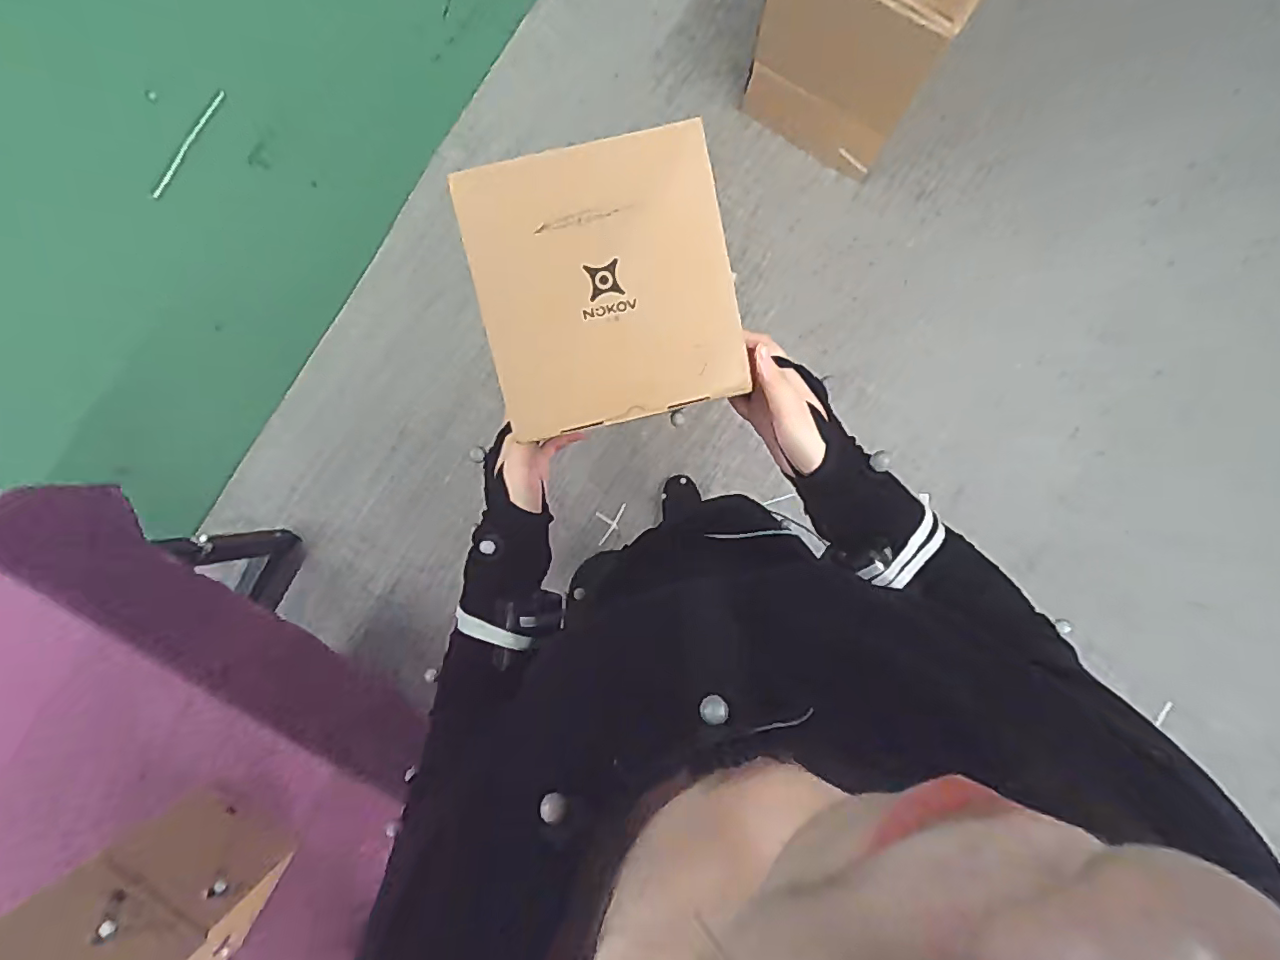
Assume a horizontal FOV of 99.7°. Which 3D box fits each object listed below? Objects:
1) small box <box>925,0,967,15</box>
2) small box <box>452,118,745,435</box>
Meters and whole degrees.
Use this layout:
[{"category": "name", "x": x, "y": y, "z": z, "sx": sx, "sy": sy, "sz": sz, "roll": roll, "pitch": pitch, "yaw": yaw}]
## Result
[{"category": "small box", "x": 0.592, "y": -1.020, "z": 0.979, "sx": 0.168, "sy": 0.176, "sz": 0.179, "roll": 33, "pitch": 90, "yaw": 3}, {"category": "small box", "x": -0.026, "y": -0.141, "z": 0.430, "sx": 0.168, "sy": 0.176, "sz": 0.179, "roll": -12, "pitch": 99, "yaw": -2}]
